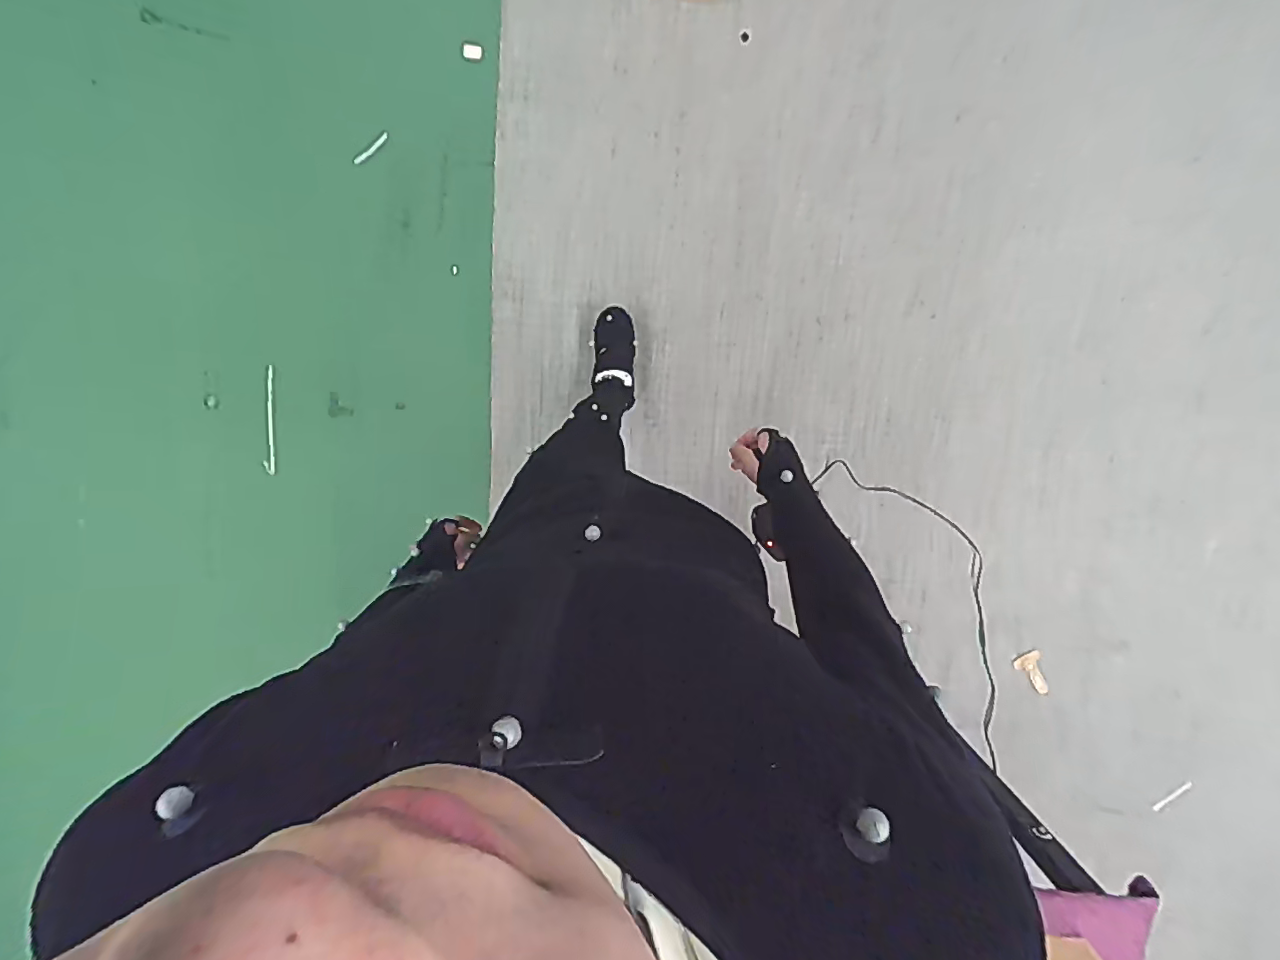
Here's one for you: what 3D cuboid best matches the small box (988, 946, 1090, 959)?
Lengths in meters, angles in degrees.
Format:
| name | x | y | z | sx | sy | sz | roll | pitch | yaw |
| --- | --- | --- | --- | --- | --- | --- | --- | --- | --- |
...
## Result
| name | x | y | z | sx | sy | sz | roll | pitch | yaw |
| --- | --- | --- | --- | --- | --- | --- | --- | --- | --- |
| small box | 0.703 | 0.923 | 0.895 | 0.179 | 0.176 | 0.168 | 3 | 100 | 2 |
